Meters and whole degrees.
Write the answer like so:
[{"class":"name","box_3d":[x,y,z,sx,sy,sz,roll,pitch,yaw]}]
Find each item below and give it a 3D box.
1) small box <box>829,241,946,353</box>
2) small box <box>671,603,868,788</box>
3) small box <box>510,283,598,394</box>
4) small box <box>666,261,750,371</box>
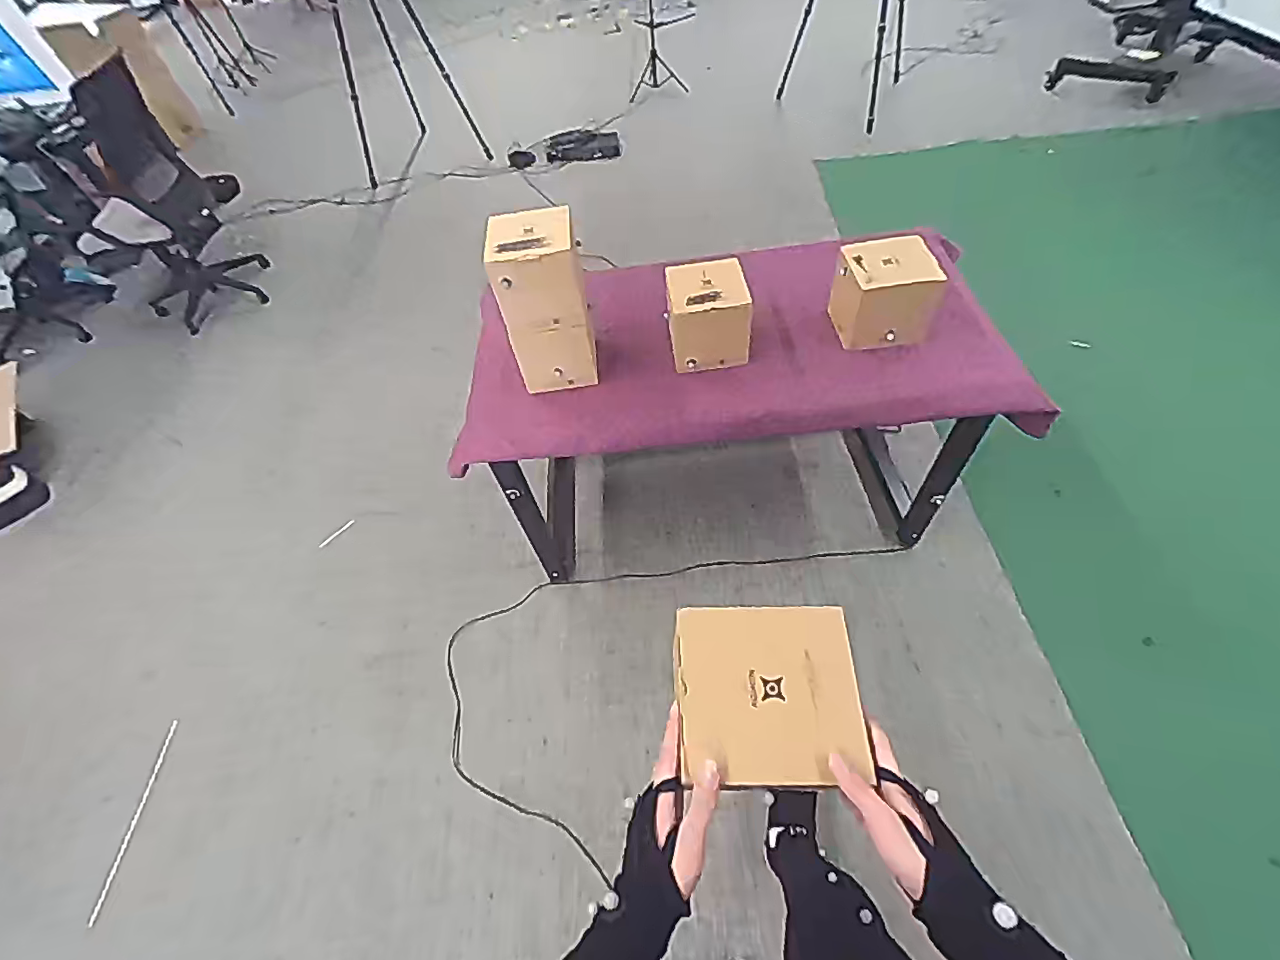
[{"class":"small box","box_3d":[0.541,-0.406,1.210,0.179,0.176,0.168,-6,53,3]},{"class":"small box","box_3d":[0.124,0.242,0.596,0.179,0.176,0.168,-1,59,2]},{"class":"small box","box_3d":[-0.191,-0.322,1.240,0.168,0.176,0.179,-8,53,2]},{"class":"small box","box_3d":[0.153,-0.365,1.230,0.168,0.176,0.179,-7,53,2]}]
